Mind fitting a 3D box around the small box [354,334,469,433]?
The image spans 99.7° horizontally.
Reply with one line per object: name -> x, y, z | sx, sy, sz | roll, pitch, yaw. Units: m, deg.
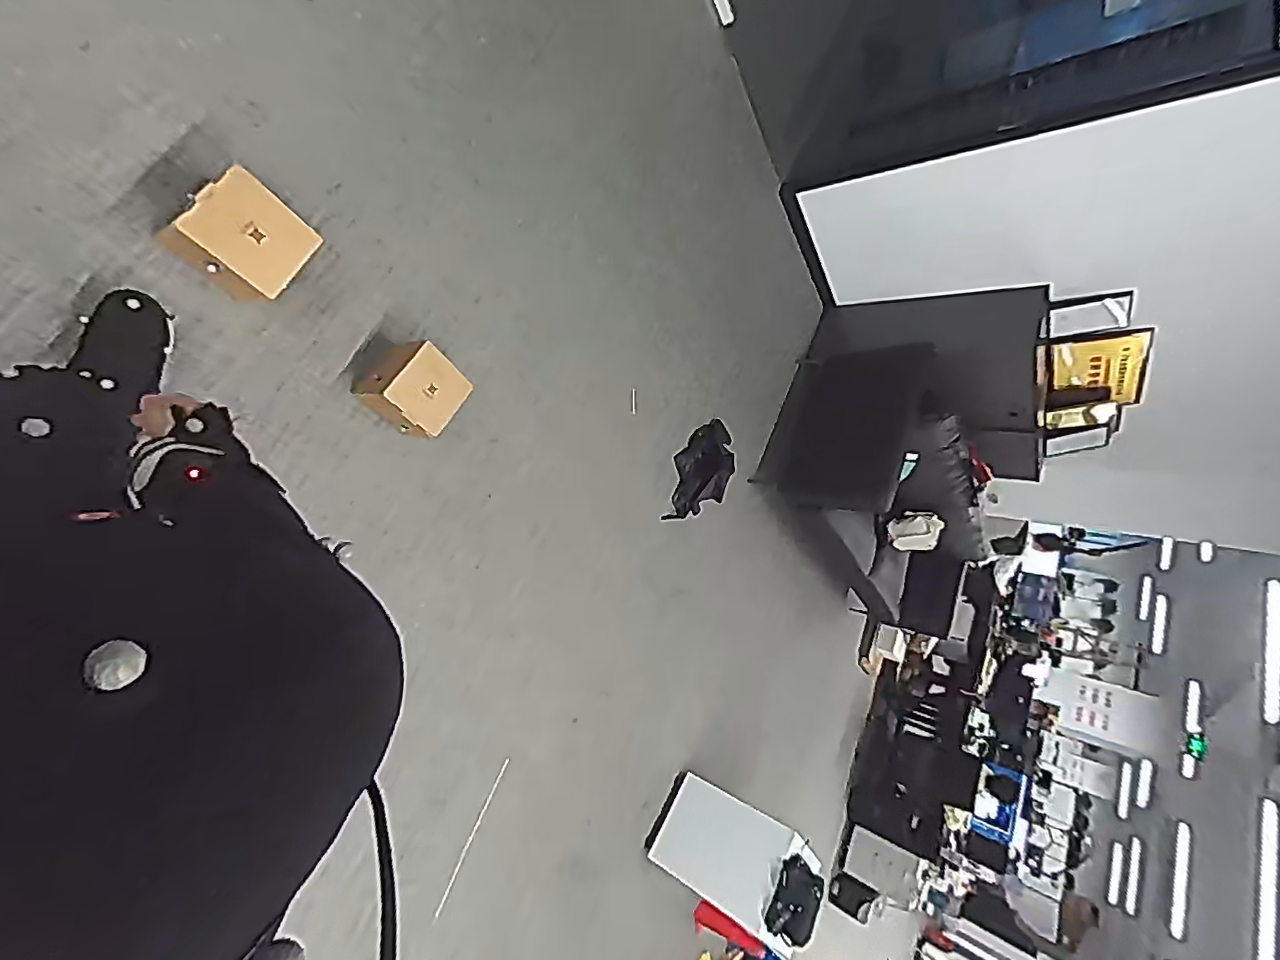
small box -> -0.566, -0.236, 1.328 | 0.168, 0.176, 0.179 | 51, 58, -44

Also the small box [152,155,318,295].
small box -> -0.772, -0.473, 1.033 | 0.179, 0.176, 0.168 | 45, 63, -44
